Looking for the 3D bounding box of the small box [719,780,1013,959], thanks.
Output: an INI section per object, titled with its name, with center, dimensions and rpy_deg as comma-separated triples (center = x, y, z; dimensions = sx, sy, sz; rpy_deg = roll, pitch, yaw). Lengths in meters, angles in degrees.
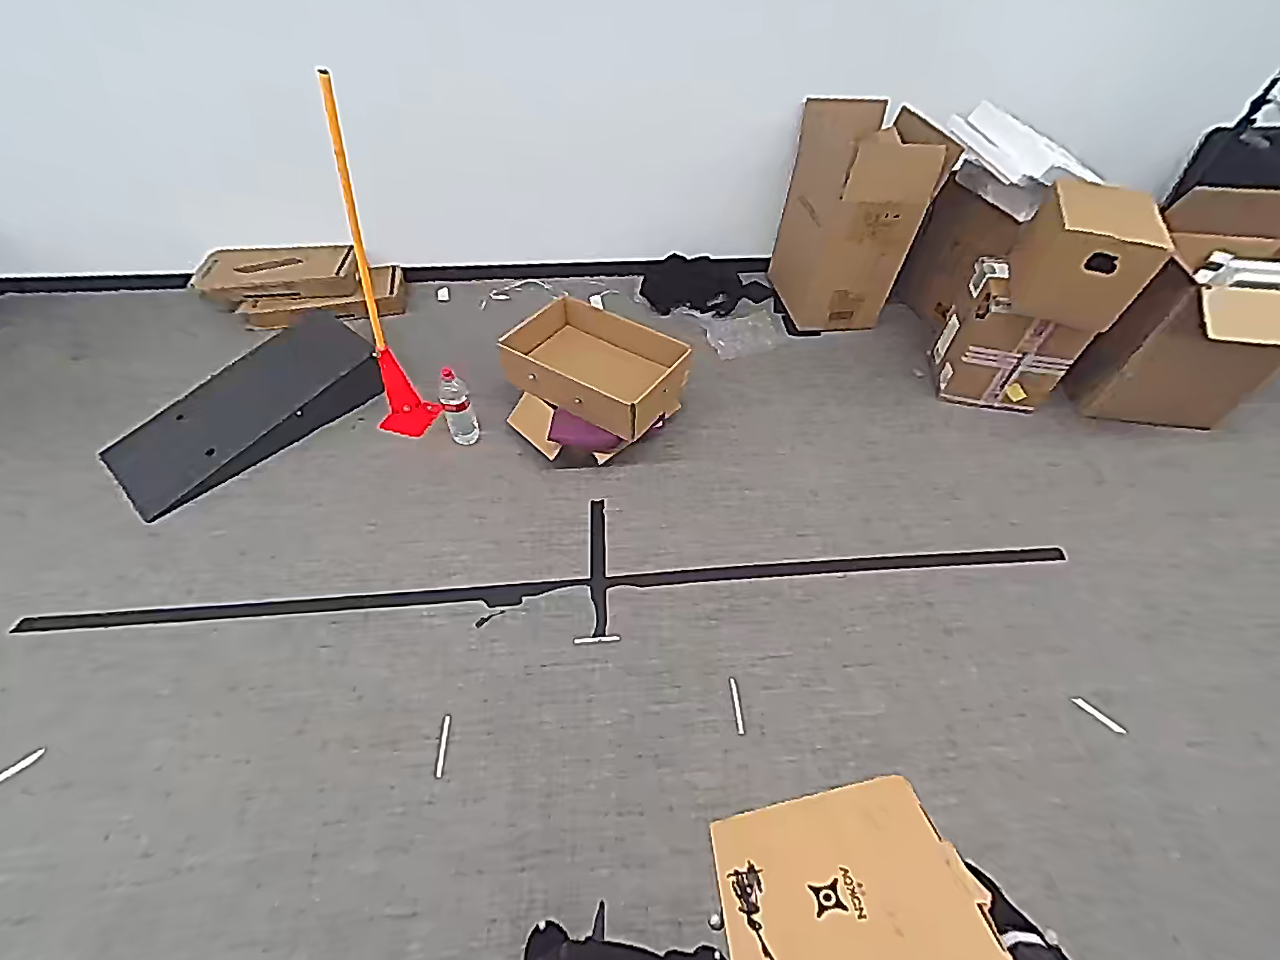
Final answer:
[small box]
center = 0.175, 0.382, 0.425
dimensions = 0.179, 0.176, 0.168
rpy_deg = -16, 16, 4
